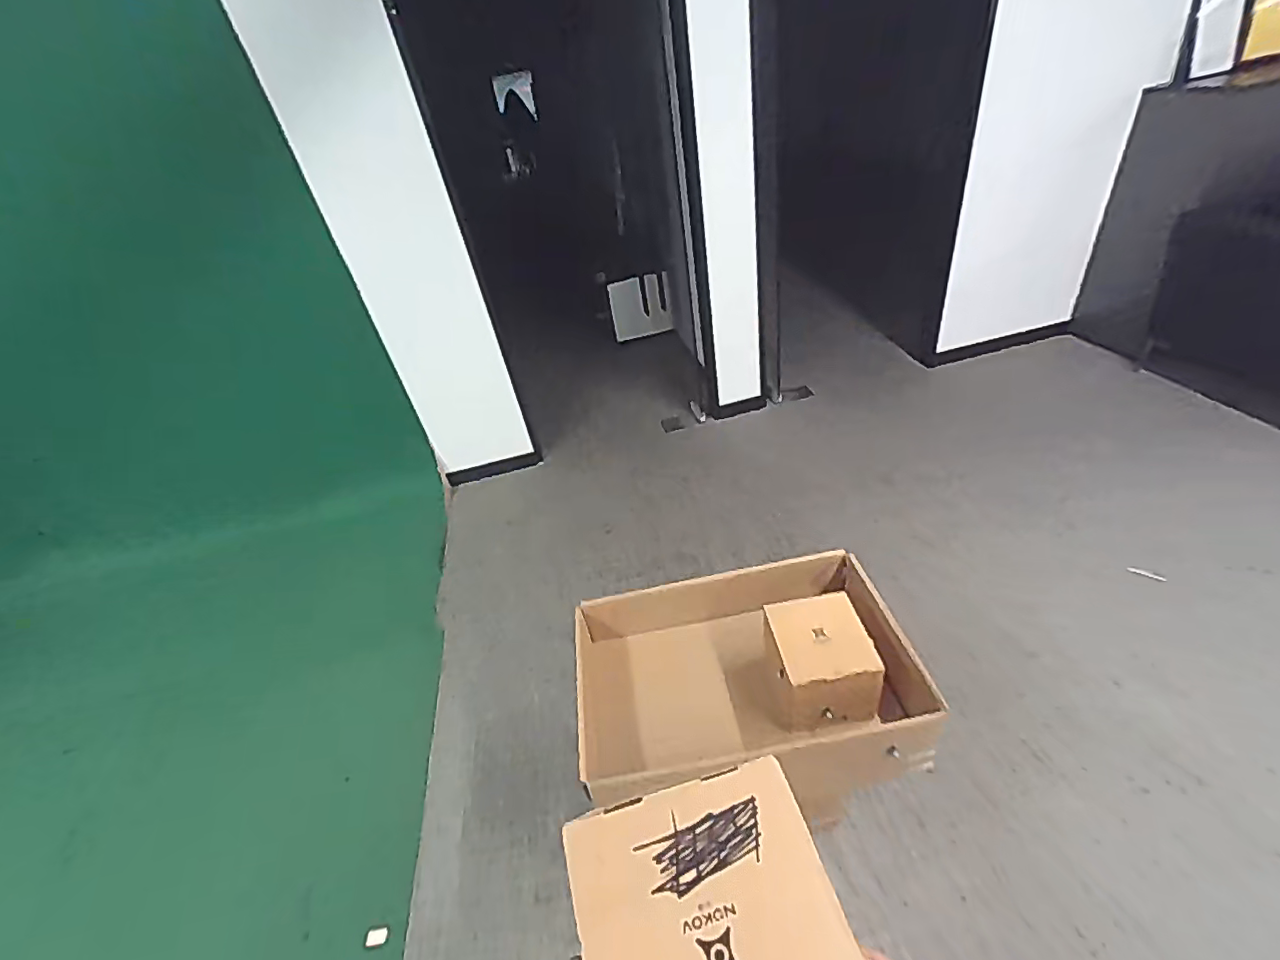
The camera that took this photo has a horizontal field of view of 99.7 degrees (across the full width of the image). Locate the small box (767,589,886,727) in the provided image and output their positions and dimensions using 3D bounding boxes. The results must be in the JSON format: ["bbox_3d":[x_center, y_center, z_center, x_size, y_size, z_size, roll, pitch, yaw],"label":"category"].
[{"bbox_3d":[0.346,0.342,1.041,0.168,0.176,0.179,-11,38,1],"label":"small box"}]

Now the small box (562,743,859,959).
[{"bbox_3d":[0.044,0.332,0.403,0.168,0.176,0.179,-13,49,-10],"label":"small box"}]
